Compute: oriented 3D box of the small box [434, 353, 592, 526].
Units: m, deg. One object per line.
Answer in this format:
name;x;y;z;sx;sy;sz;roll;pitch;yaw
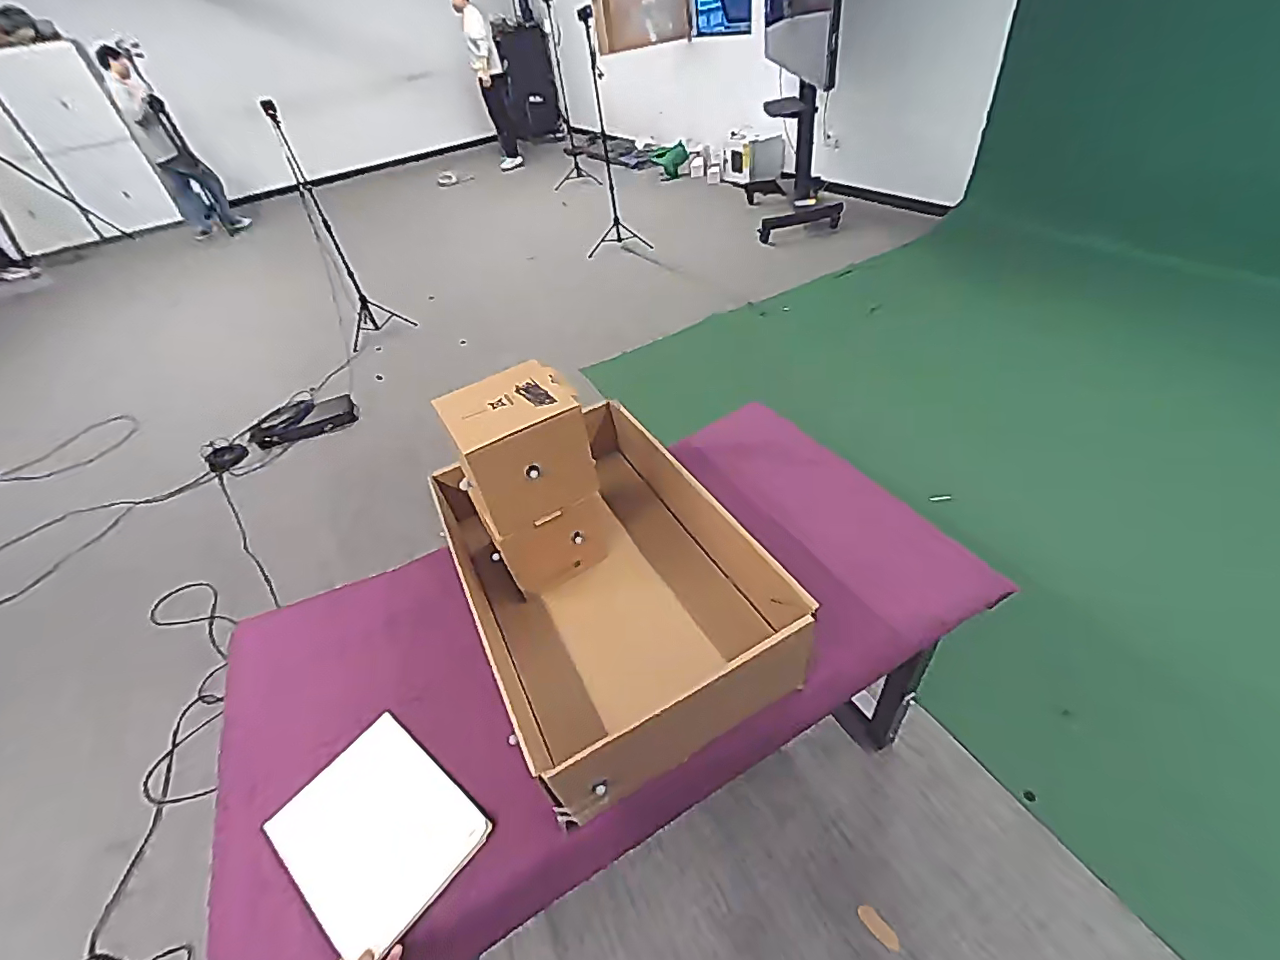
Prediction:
small box;-0.186;-0.063;0.834;0.179;0.176;0.168;-27;46;-18
